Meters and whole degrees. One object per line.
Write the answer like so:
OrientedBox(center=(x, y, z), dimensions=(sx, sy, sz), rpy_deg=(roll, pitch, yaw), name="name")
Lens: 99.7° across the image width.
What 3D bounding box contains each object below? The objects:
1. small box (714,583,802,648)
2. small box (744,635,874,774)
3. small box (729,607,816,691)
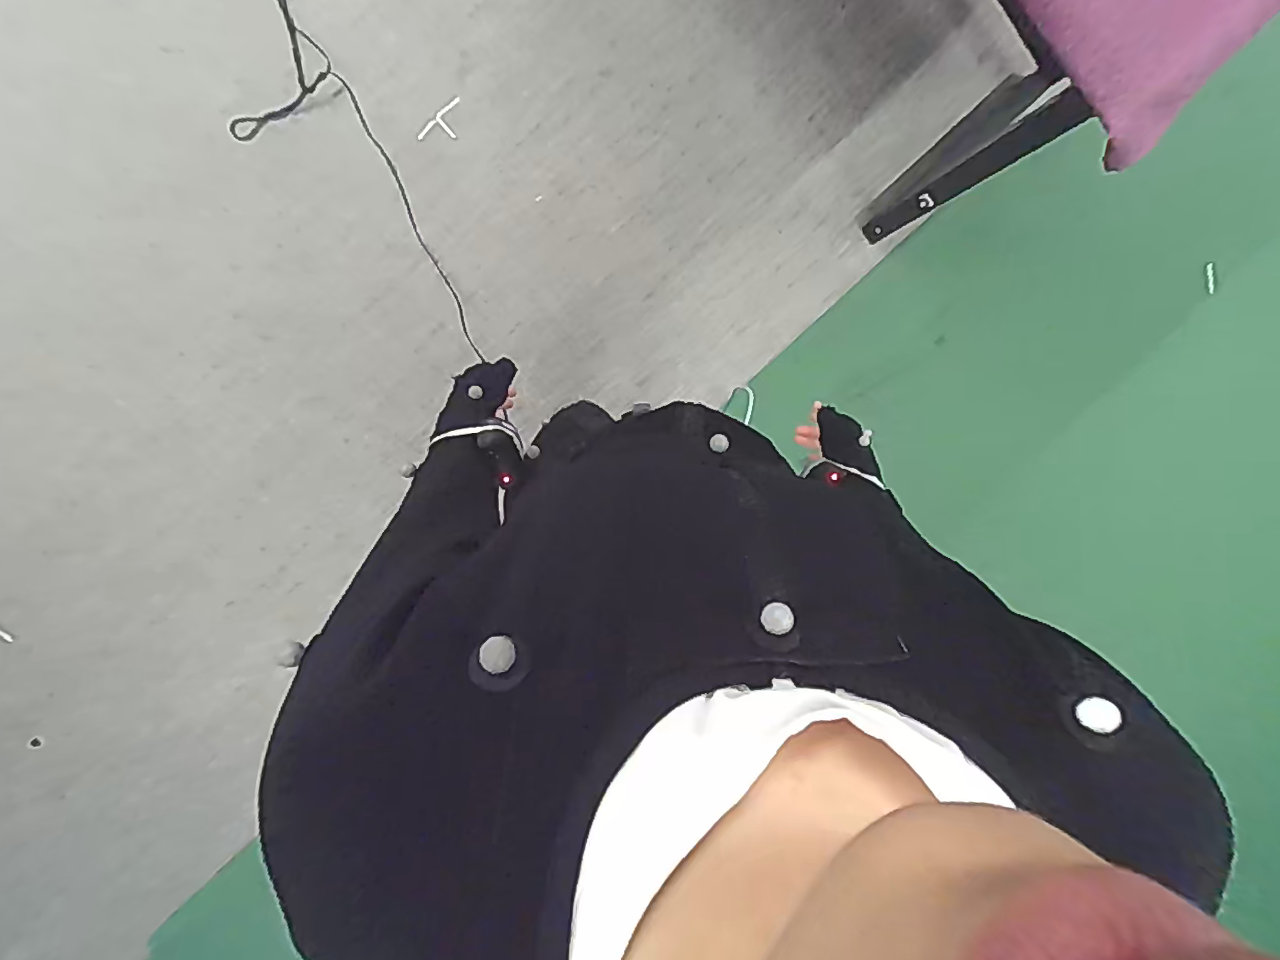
OrientedBox(center=(0.327, 0.411, 1.475), dimensions=(0.168, 0.176, 0.179), rpy_deg=(-42, 99, 3), name="small box")
OrientedBox(center=(0.349, 0.468, 1.154), dimensions=(0.179, 0.176, 0.168), rpy_deg=(-43, 100, 4), name="small box")
OrientedBox(center=(0.335, 0.444, 1.312), dimensions=(0.179, 0.176, 0.168), rpy_deg=(-40, 101, 4), name="small box")
